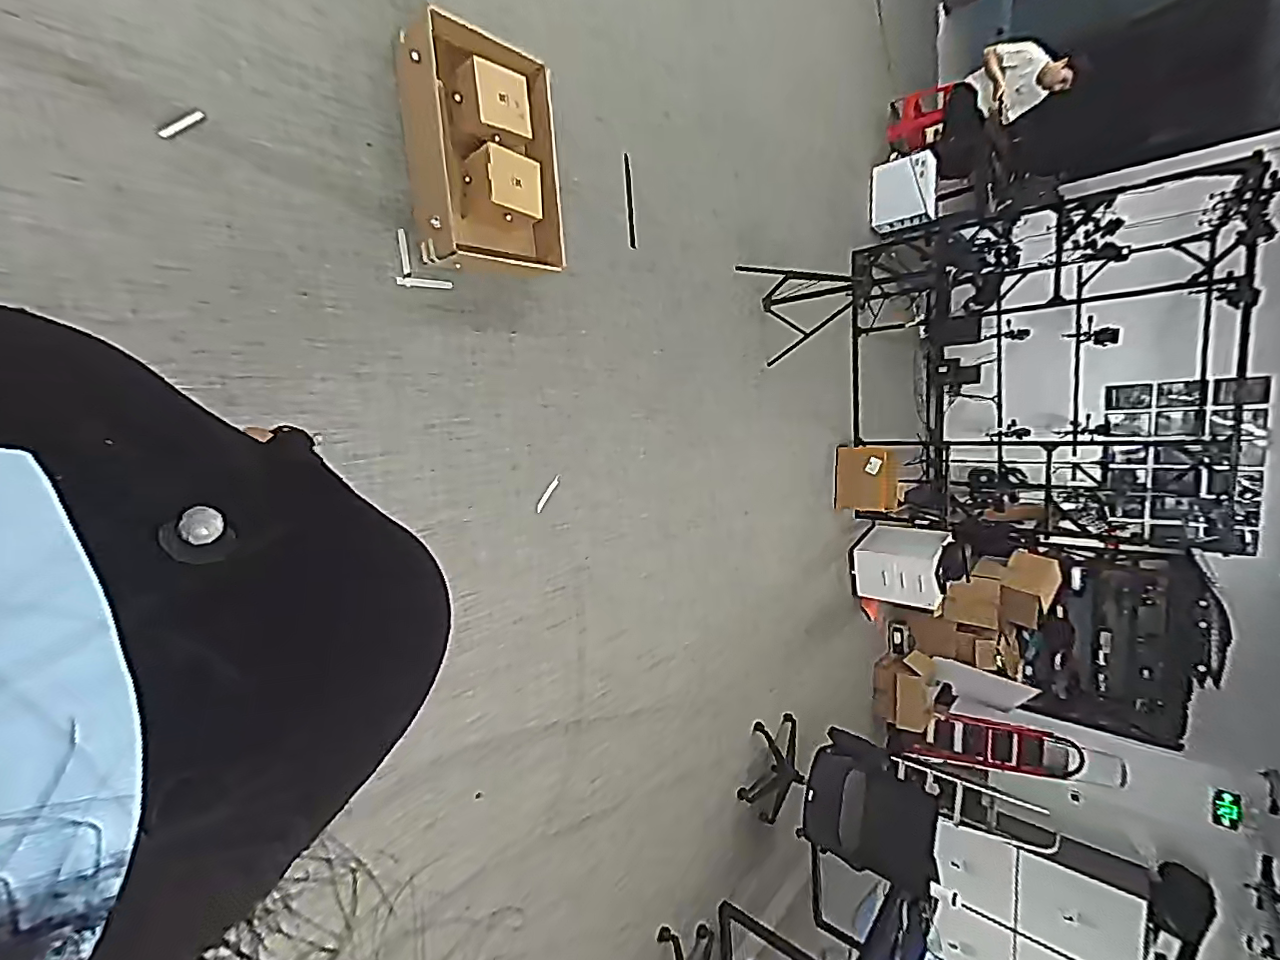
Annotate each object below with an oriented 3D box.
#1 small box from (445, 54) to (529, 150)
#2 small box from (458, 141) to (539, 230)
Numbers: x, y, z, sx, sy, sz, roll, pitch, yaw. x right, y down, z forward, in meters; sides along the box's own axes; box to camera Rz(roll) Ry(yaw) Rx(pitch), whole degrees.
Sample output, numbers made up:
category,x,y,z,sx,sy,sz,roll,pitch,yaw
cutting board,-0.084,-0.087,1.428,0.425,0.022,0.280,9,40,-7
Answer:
category,x,y,z,sx,sy,sz,roll,pitch,yaw
small box,-0.449,-1.079,1.570,0.179,0.176,0.168,-15,106,-47
small box,-0.424,-0.868,1.617,0.179,0.176,0.168,-5,96,-48
